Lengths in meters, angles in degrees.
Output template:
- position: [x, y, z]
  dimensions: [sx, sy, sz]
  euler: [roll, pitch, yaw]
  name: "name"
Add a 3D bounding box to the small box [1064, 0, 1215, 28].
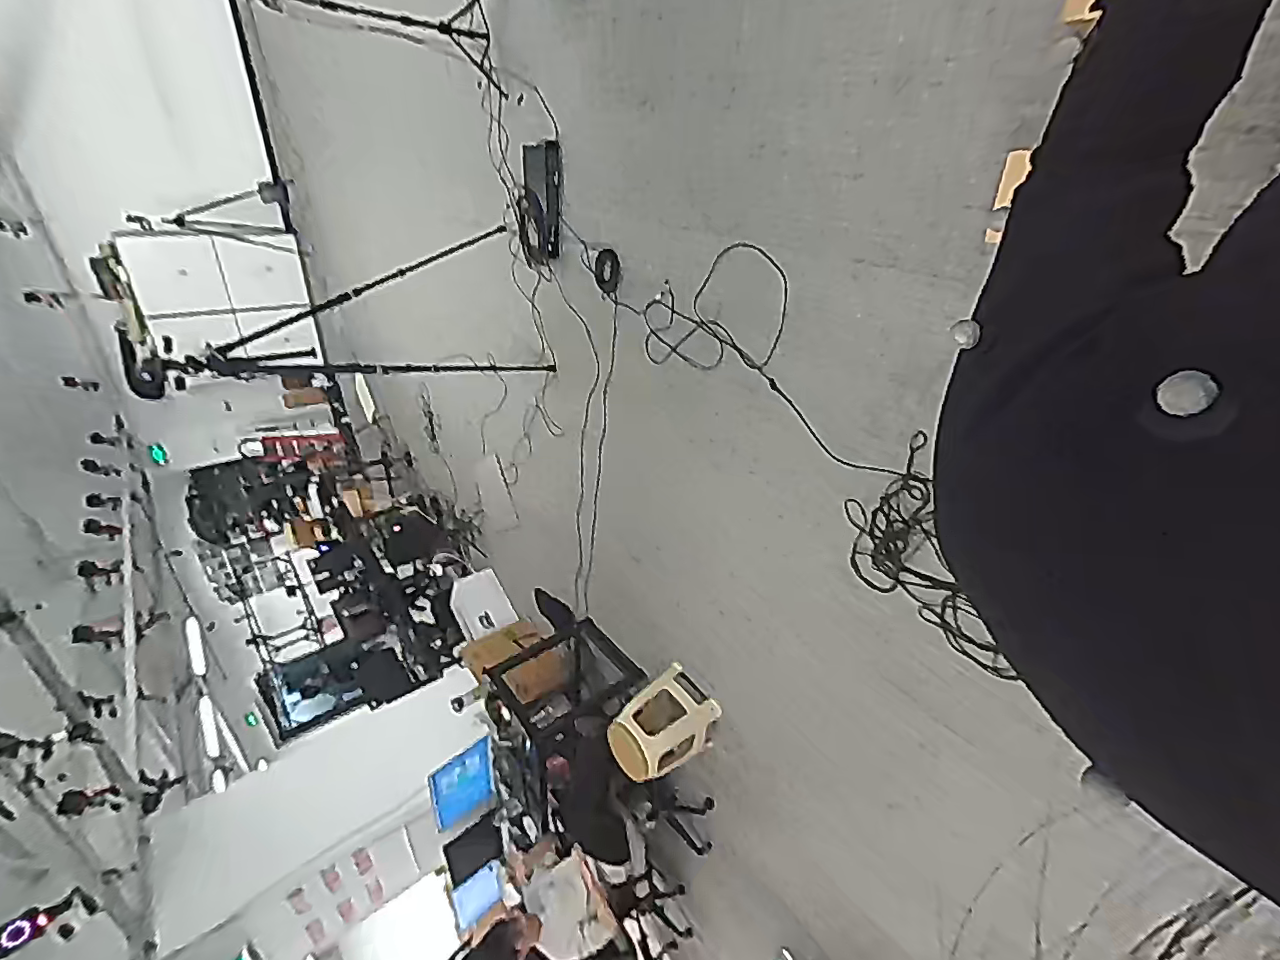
- position: [0.859, -0.878, 0.897]
  dimensions: [0.179, 0.176, 0.168]
  euler: [30, 131, 41]
  name: "small box"
